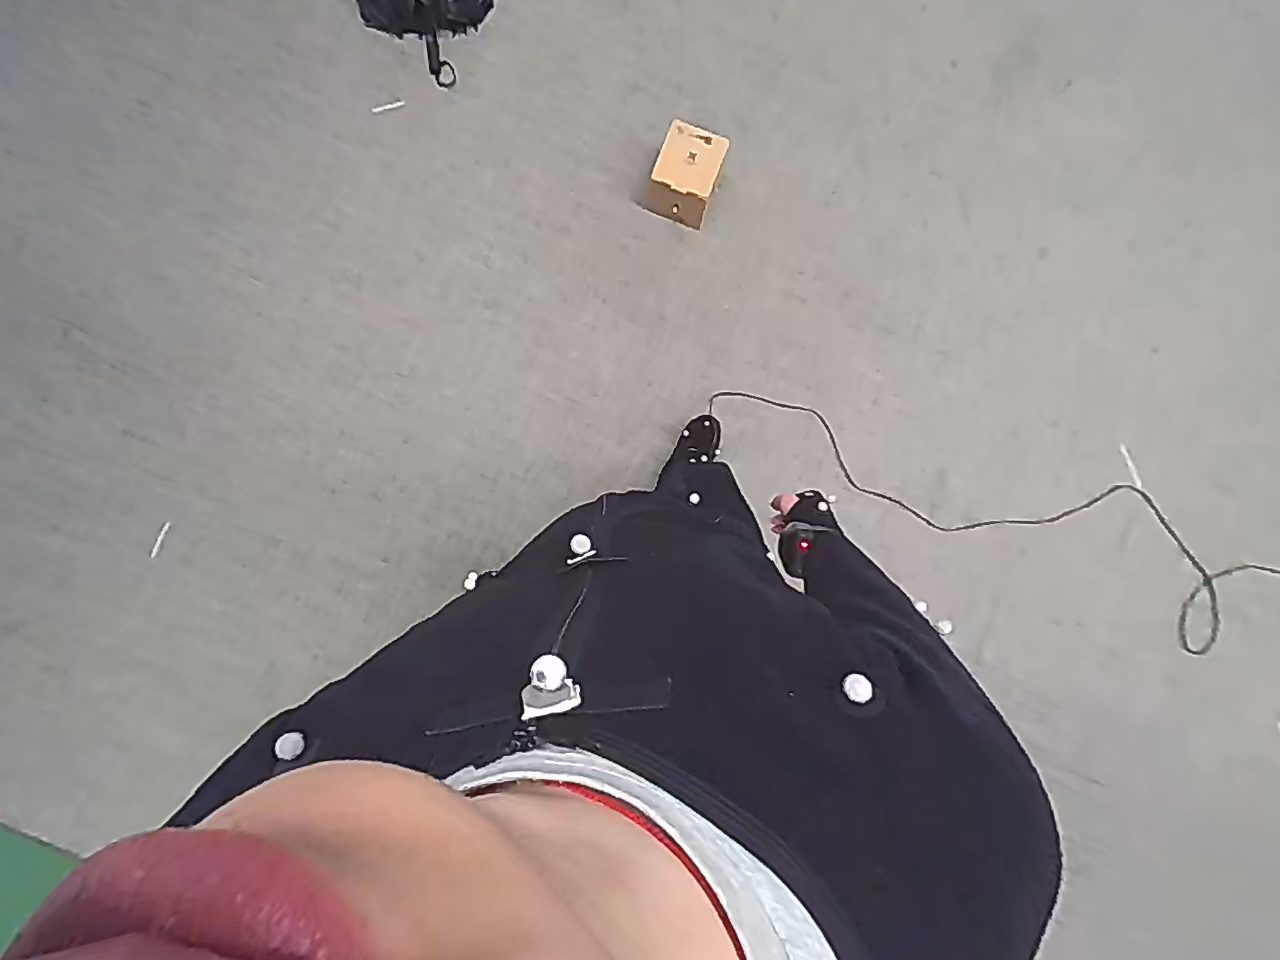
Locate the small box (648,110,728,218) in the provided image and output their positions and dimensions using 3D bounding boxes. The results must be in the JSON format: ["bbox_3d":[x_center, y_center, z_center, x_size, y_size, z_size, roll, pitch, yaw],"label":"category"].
[{"bbox_3d":[0.128,-0.861,1.494,0.168,0.176,0.179,21,90,0],"label":"small box"}]
